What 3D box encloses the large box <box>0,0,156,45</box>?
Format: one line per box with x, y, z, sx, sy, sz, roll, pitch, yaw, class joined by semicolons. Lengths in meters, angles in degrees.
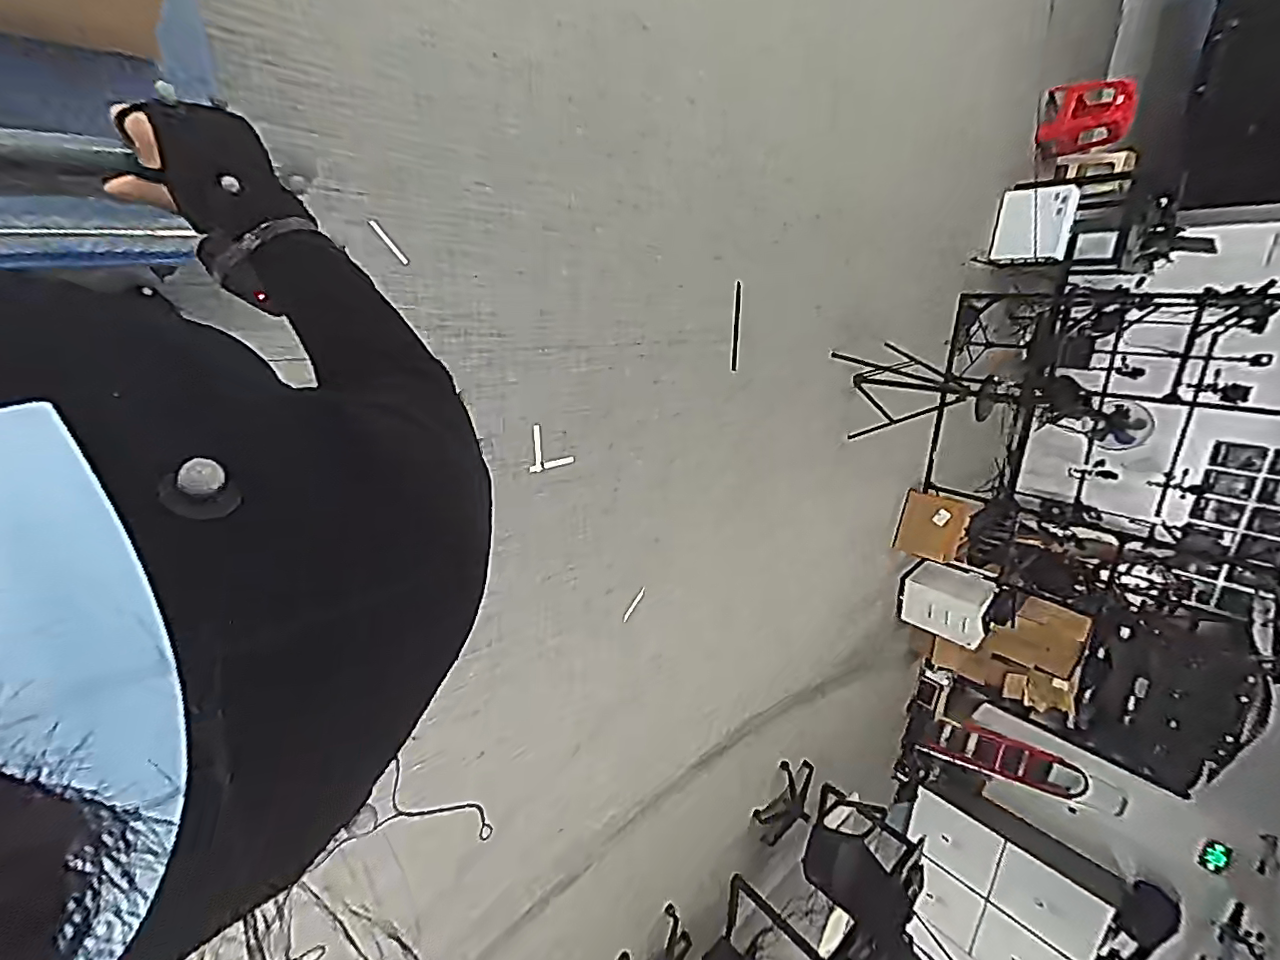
-0.867;-0.763;0.619;0.408;0.320;0.320;-19;117;-37;large box
